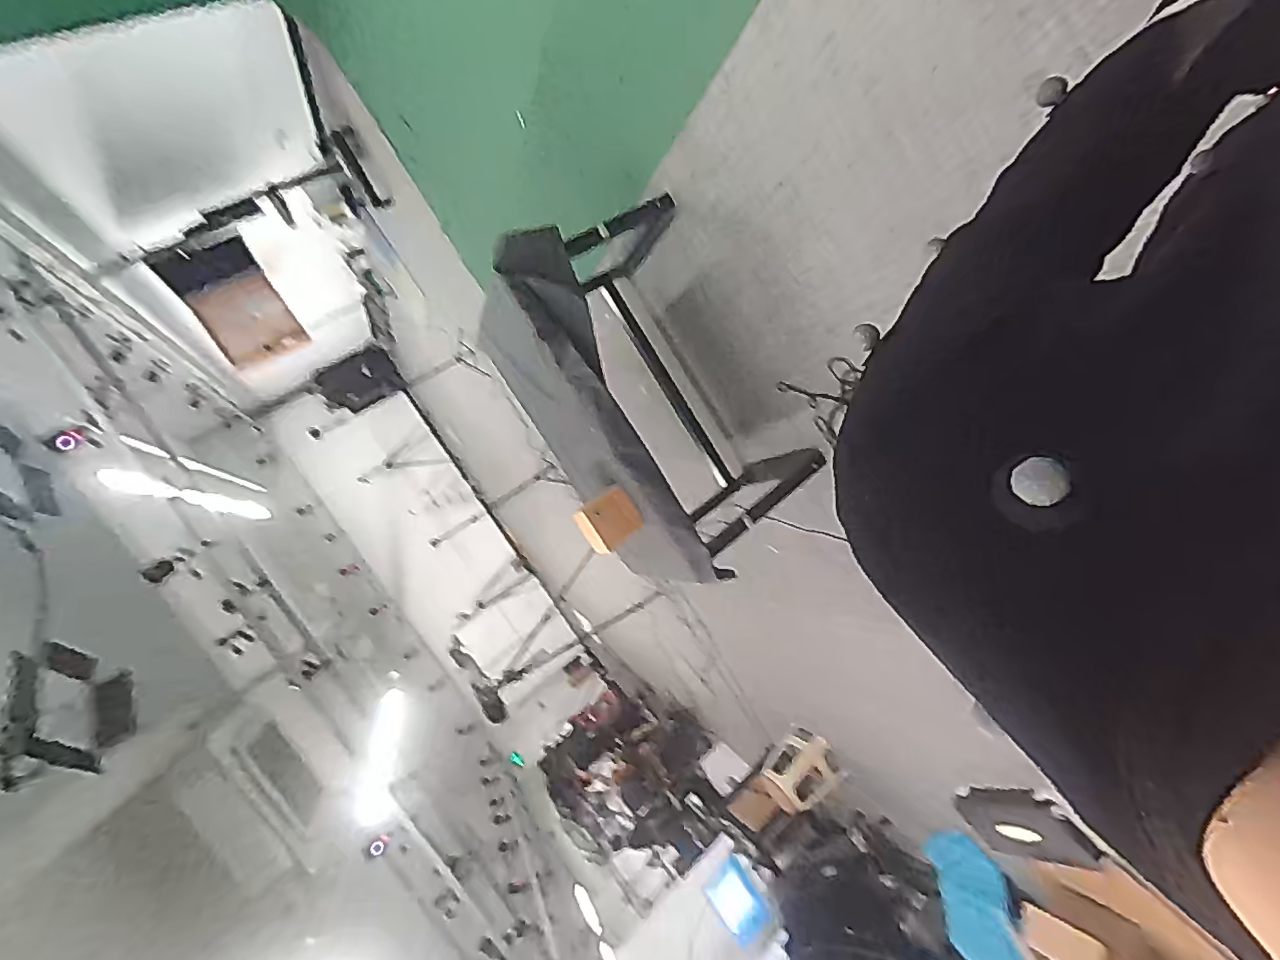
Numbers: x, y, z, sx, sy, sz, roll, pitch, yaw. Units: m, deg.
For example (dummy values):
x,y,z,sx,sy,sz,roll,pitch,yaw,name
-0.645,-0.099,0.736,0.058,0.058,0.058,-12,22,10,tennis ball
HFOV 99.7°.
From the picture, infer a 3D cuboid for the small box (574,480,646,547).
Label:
x,y,z,sx,sy,sz,roll,pitch,yaw,name
-0.106,0.120,1.929,0.179,0.176,0.168,58,159,-5,small box
